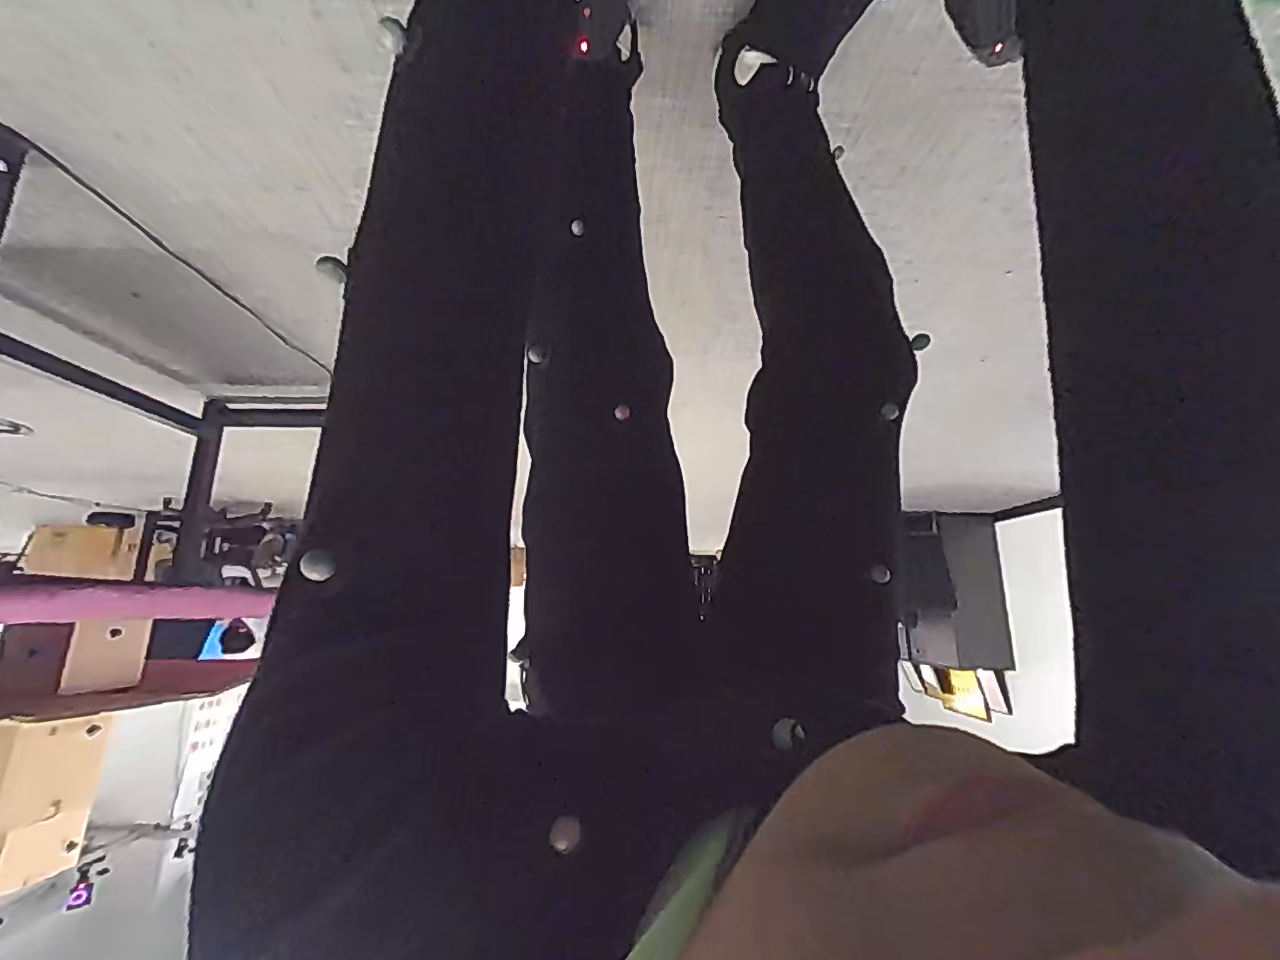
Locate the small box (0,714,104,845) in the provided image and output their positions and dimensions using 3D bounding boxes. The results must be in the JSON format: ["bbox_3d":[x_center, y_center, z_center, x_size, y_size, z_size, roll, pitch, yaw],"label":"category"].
[{"bbox_3d":[-1.070,0.499,0.914,0.179,0.176,0.168,0,164,1],"label":"small box"}]

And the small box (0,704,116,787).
[{"bbox_3d":[-1.248,0.557,1.113,0.179,0.176,0.168,-1,164,0],"label":"small box"}]
